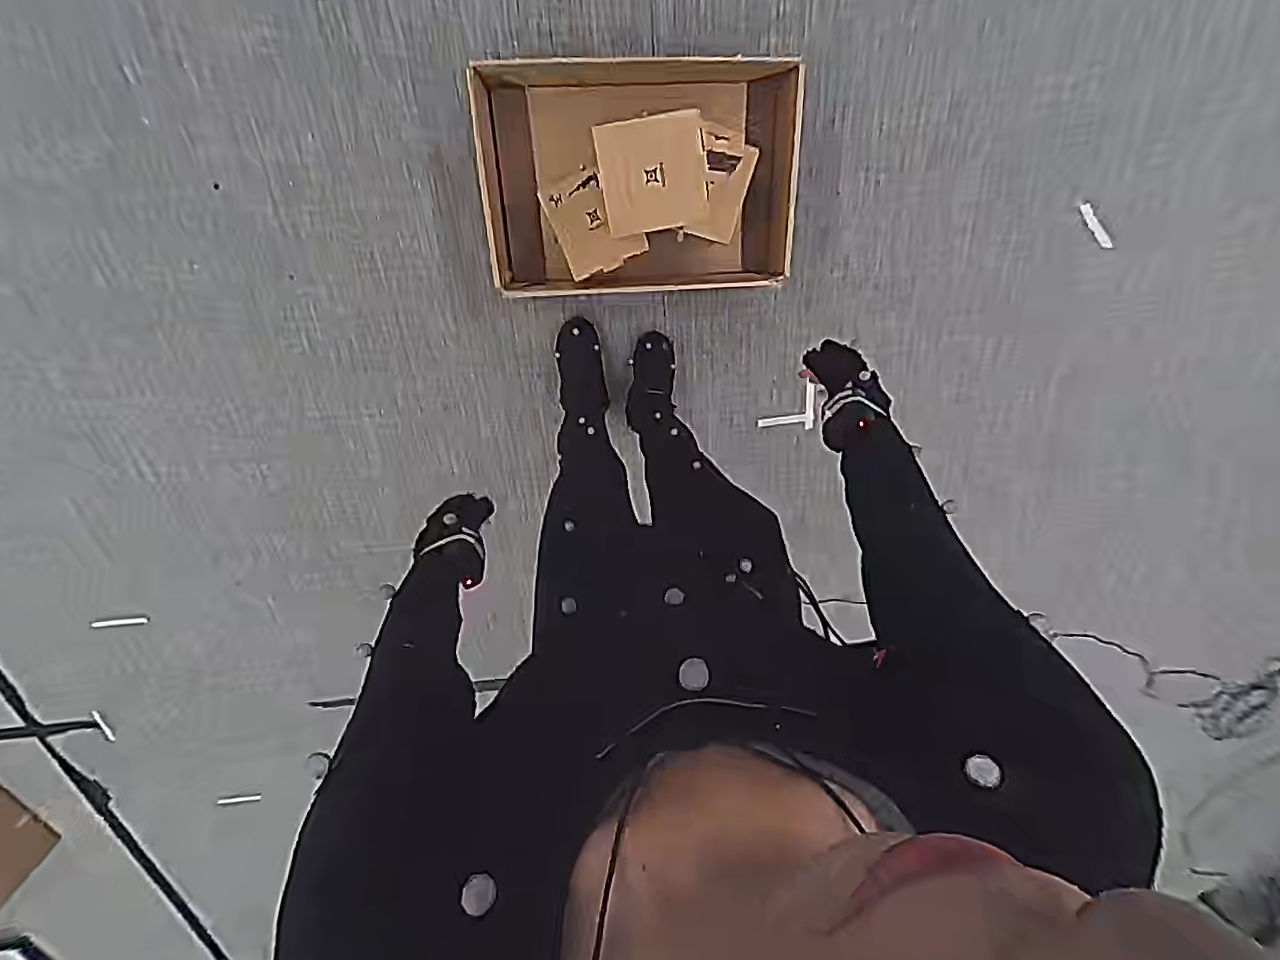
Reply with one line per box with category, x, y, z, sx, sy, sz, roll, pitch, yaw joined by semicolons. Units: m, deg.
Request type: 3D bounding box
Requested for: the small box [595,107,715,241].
small box;0.021;-0.520;0.936;0.179;0.176;0.168;-11;114;1
